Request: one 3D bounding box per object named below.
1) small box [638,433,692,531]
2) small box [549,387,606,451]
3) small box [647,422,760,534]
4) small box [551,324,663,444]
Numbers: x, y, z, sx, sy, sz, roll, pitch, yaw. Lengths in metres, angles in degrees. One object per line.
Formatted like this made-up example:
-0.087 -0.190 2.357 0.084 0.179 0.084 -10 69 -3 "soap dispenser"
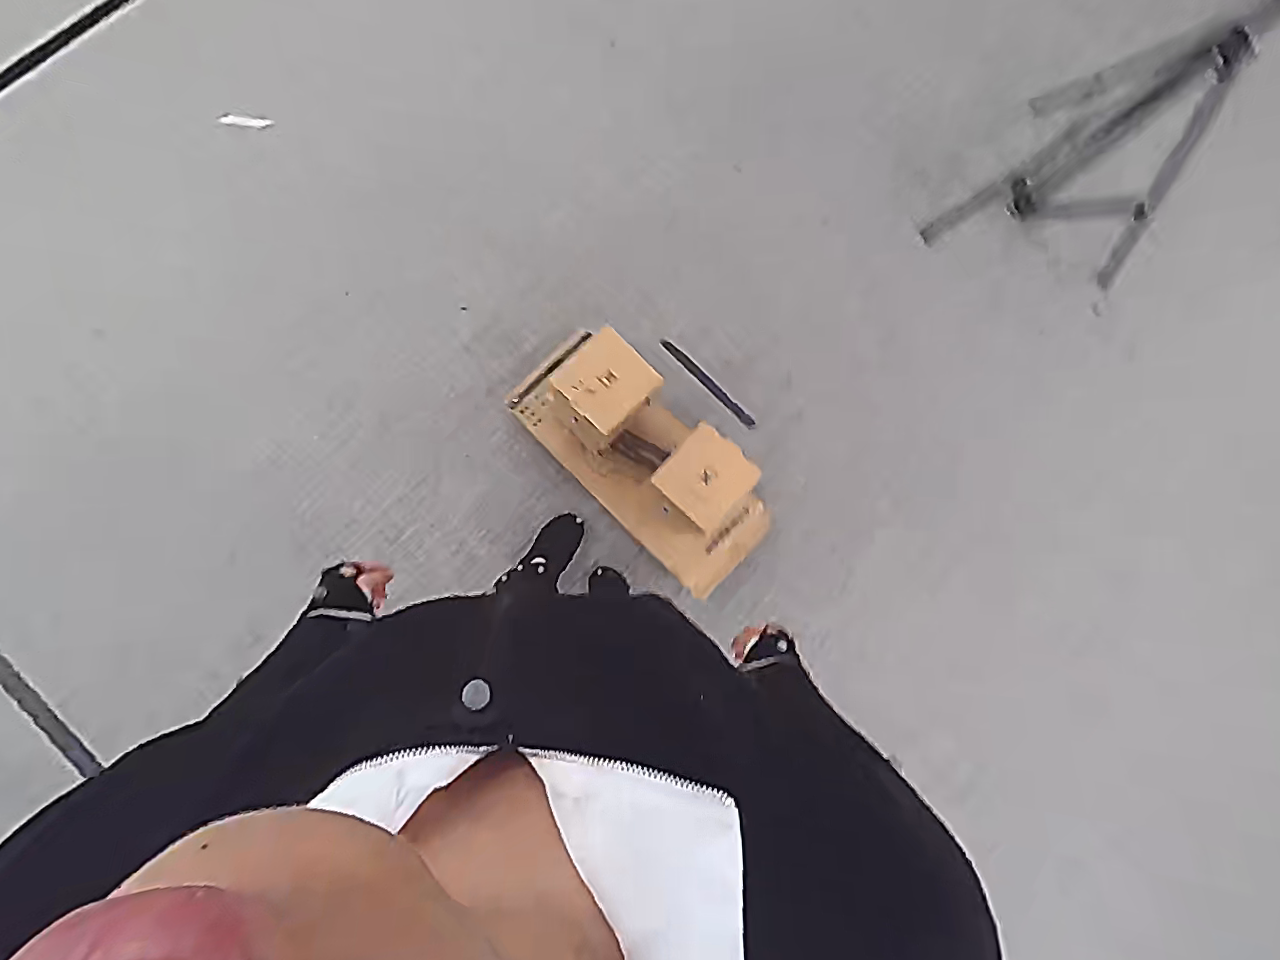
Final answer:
0.112 0.014 1.348 0.179 0.176 0.168 -44 87 -7 "small box"
-0.107 -0.194 1.350 0.168 0.176 0.179 45 83 0 "small box"
0.128 0.002 1.185 0.168 0.176 0.179 43 83 2 "small box"
-0.075 -0.201 1.187 0.179 0.176 0.168 -43 89 -7 "small box"
